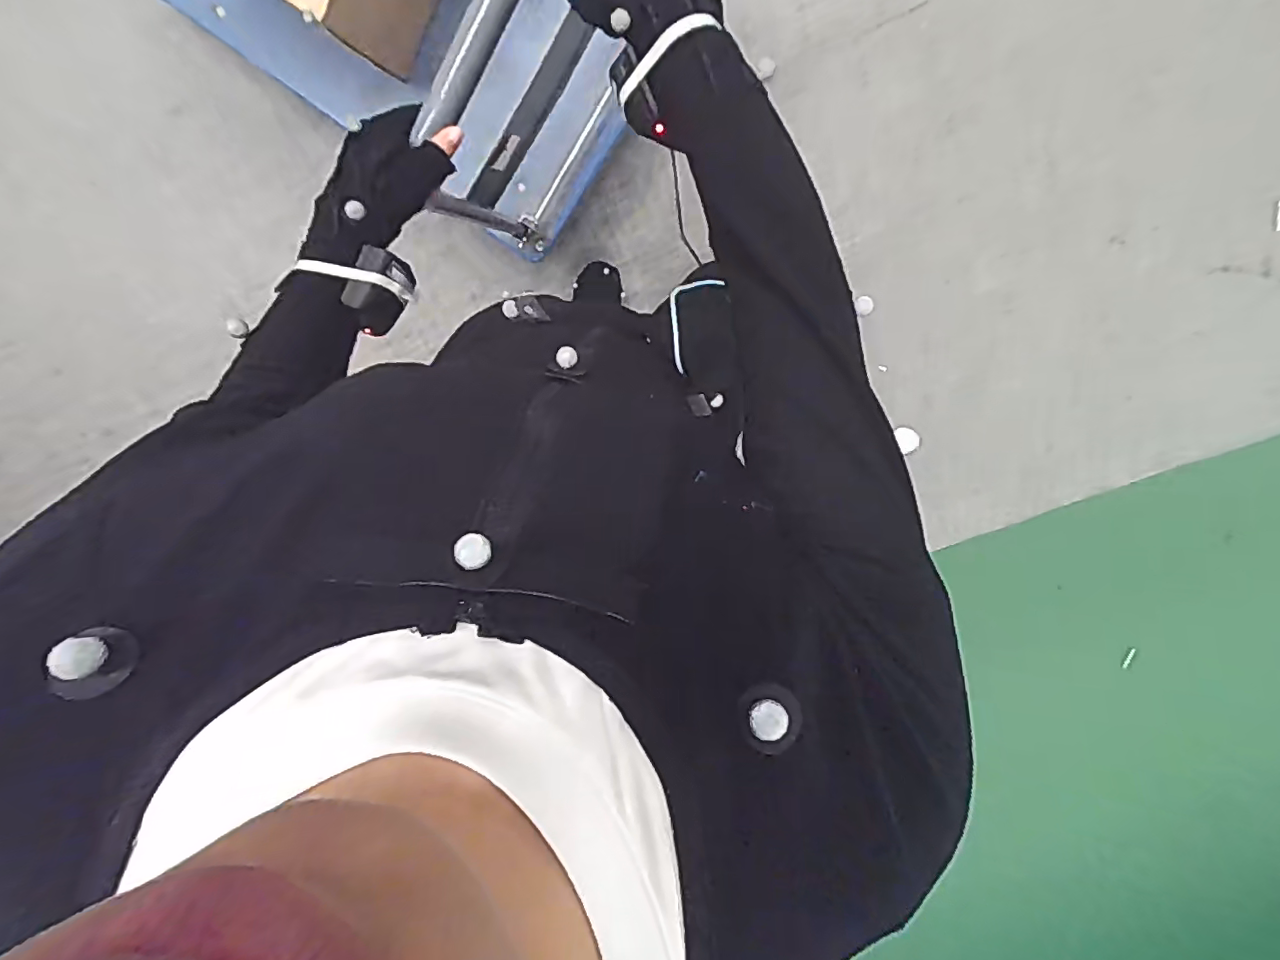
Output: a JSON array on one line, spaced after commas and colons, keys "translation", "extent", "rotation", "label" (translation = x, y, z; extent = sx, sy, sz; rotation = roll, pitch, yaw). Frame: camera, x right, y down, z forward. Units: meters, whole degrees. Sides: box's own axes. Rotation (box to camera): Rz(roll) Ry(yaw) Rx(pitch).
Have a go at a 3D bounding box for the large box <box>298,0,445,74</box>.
[{"translation": [-0.443, -0.920, 0.780], "extent": [0.320, 0.320, 0.408], "rotation": [31, 111, -13], "label": "large box"}]
